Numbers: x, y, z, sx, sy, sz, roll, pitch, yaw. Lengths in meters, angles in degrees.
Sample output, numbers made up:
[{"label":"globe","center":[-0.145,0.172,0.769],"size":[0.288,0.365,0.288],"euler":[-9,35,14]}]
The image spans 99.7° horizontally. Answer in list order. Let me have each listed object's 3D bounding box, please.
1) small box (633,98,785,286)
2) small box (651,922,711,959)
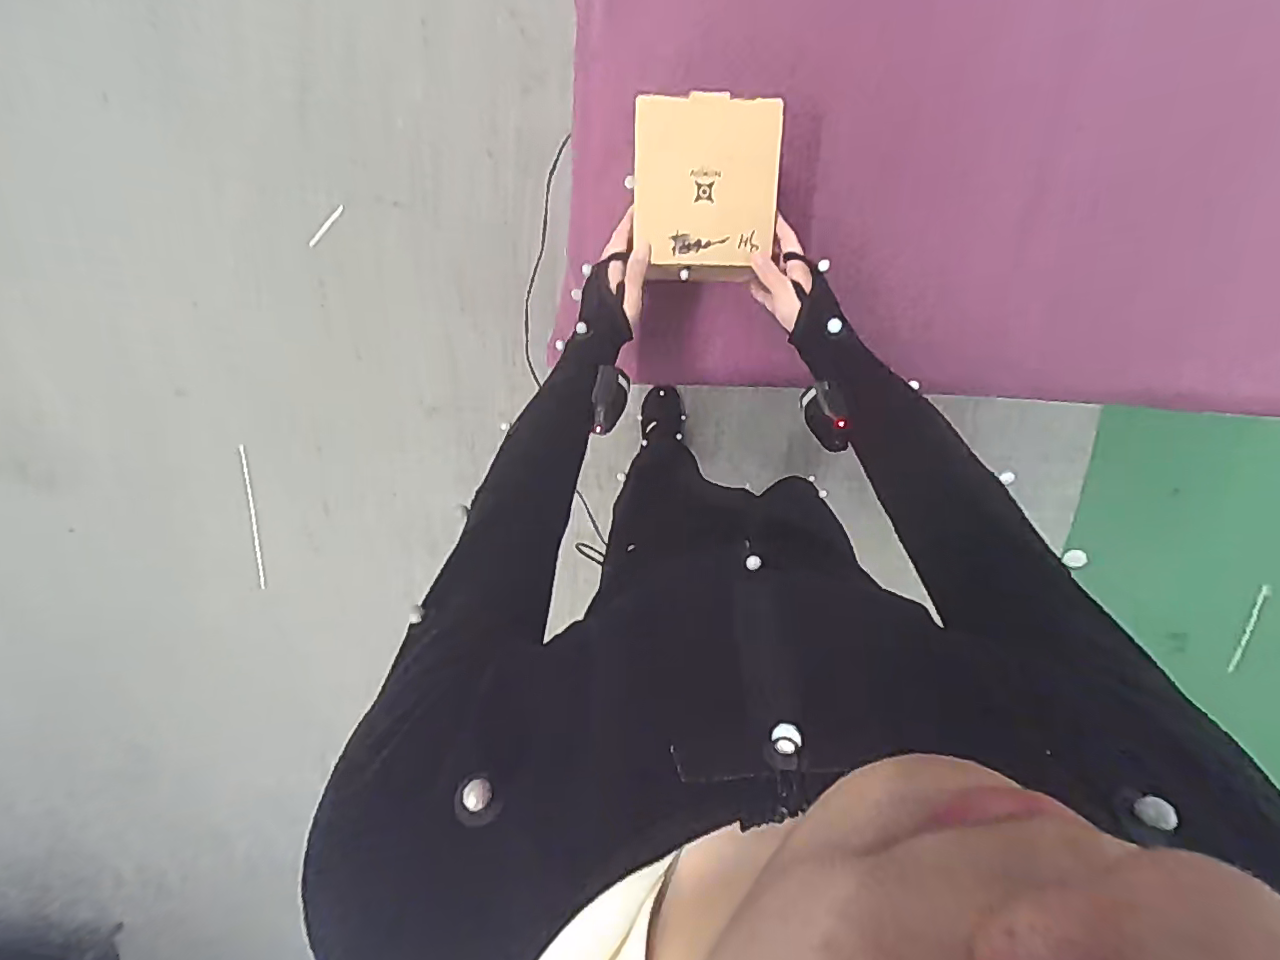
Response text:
[{"label":"small box","center":[0.075,-0.350,0.688],"size":[0.168,0.176,0.179],"euler":[2,105,0]},{"label":"small box","center":[0.127,1.540,1.700],"size":[0.168,0.176,0.179],"euler":[9,106,-3]}]
